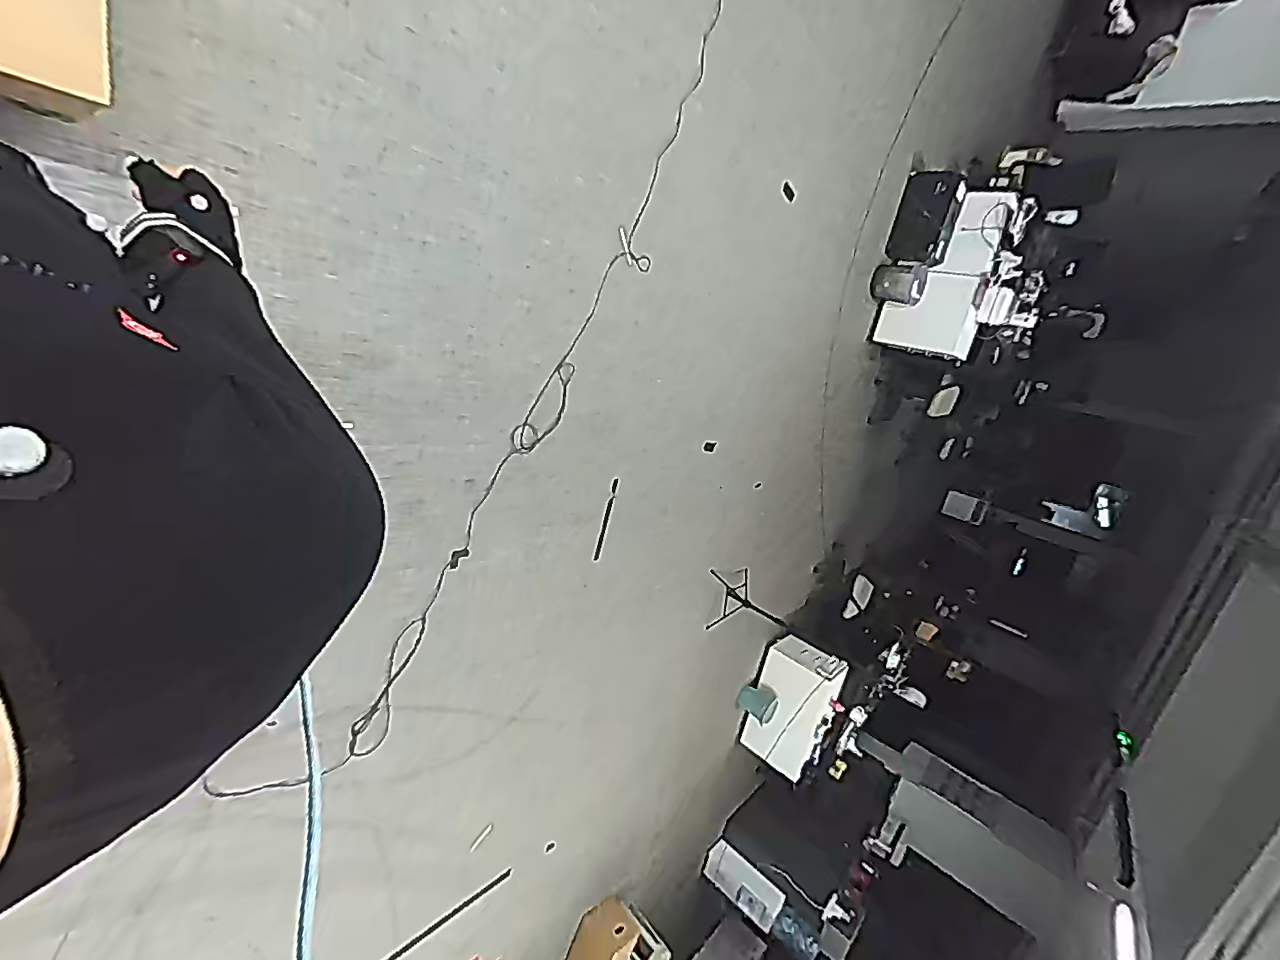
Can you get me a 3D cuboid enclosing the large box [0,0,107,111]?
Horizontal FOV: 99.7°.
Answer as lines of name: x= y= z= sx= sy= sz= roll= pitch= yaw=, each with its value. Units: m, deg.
large box: x=-0.977 y=-0.718 z=0.669 sx=0.408 sy=0.320 sz=0.320 roll=-8 pitch=116 yaw=-50
